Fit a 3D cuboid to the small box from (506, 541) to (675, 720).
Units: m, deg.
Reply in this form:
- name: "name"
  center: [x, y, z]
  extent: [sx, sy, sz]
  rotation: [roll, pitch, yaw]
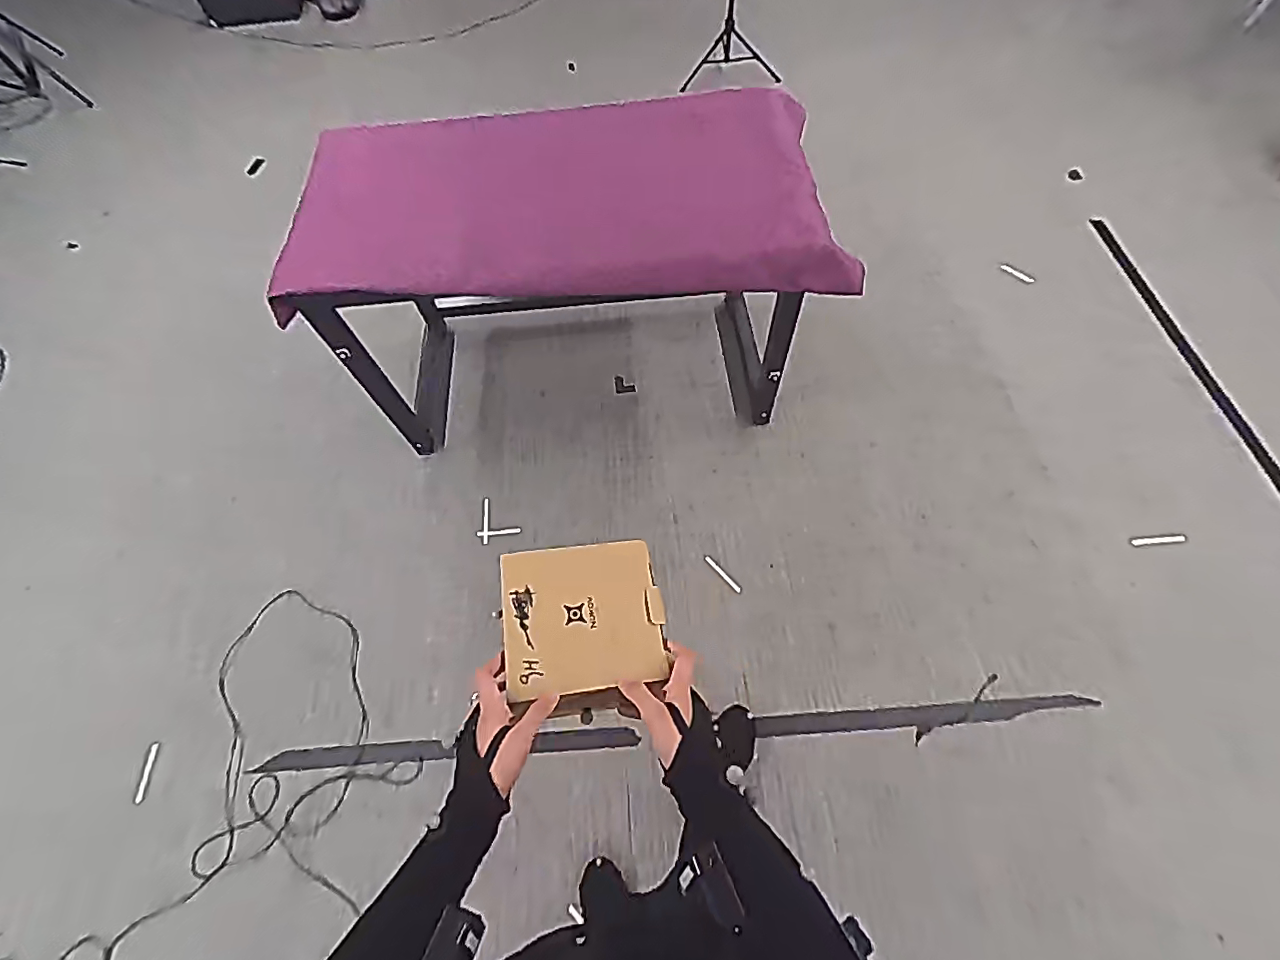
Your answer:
- name: "small box"
  center: [-0.071, 0.188, 0.667]
  extent: [0.179, 0.176, 0.168]
  rotation: [-4, 60, -12]
